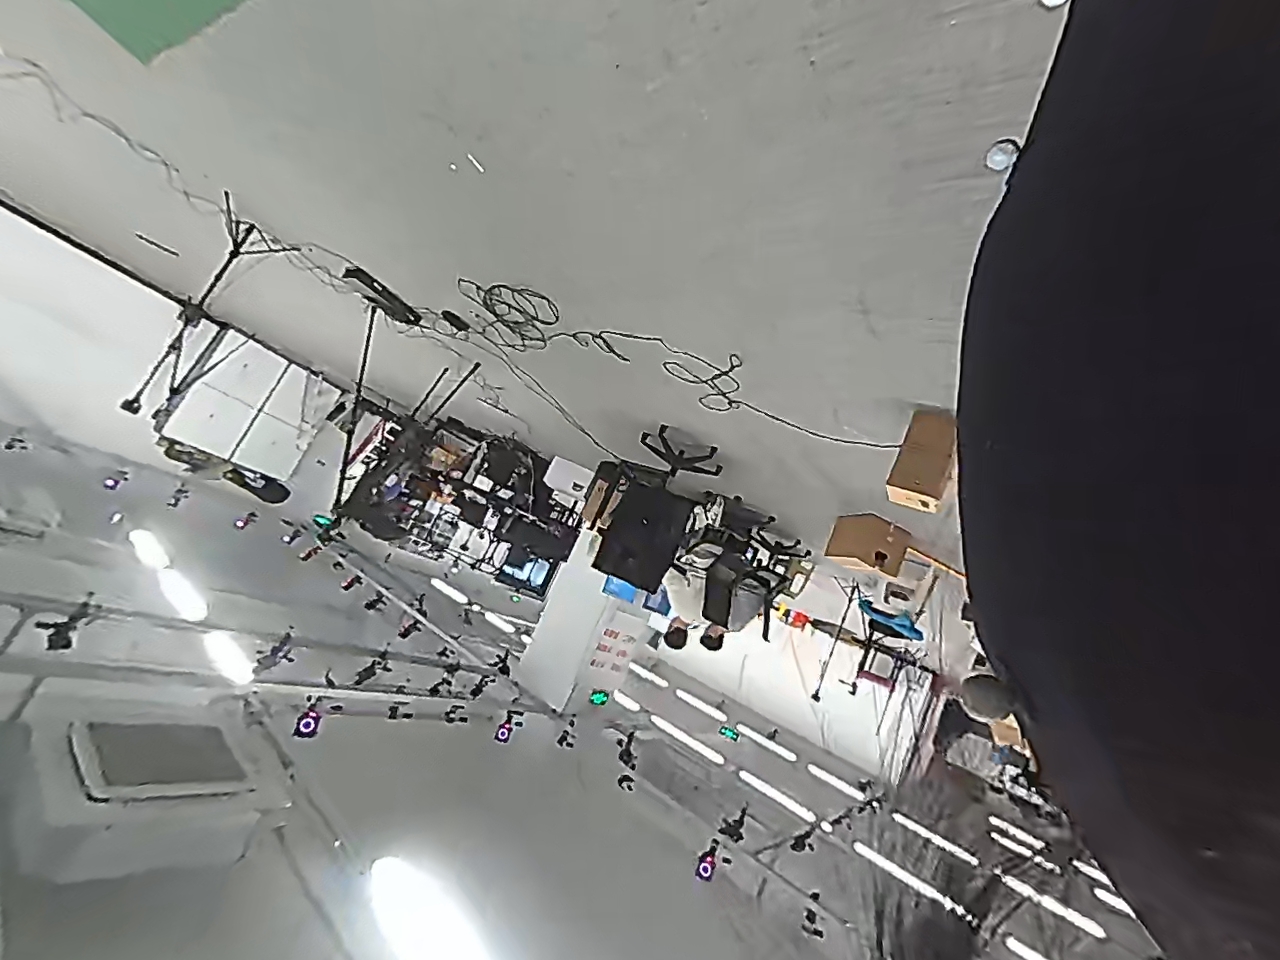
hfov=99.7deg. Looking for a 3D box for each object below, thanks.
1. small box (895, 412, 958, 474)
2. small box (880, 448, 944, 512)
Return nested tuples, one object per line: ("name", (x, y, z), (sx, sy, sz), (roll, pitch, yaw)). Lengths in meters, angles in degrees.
("small box", (1.102, -0.144, 2.073), (0.179, 0.176, 0.168), (18, 167, 34))
("small box", (1.027, -0.003, 2.034), (0.179, 0.176, 0.168), (19, 168, 34))
